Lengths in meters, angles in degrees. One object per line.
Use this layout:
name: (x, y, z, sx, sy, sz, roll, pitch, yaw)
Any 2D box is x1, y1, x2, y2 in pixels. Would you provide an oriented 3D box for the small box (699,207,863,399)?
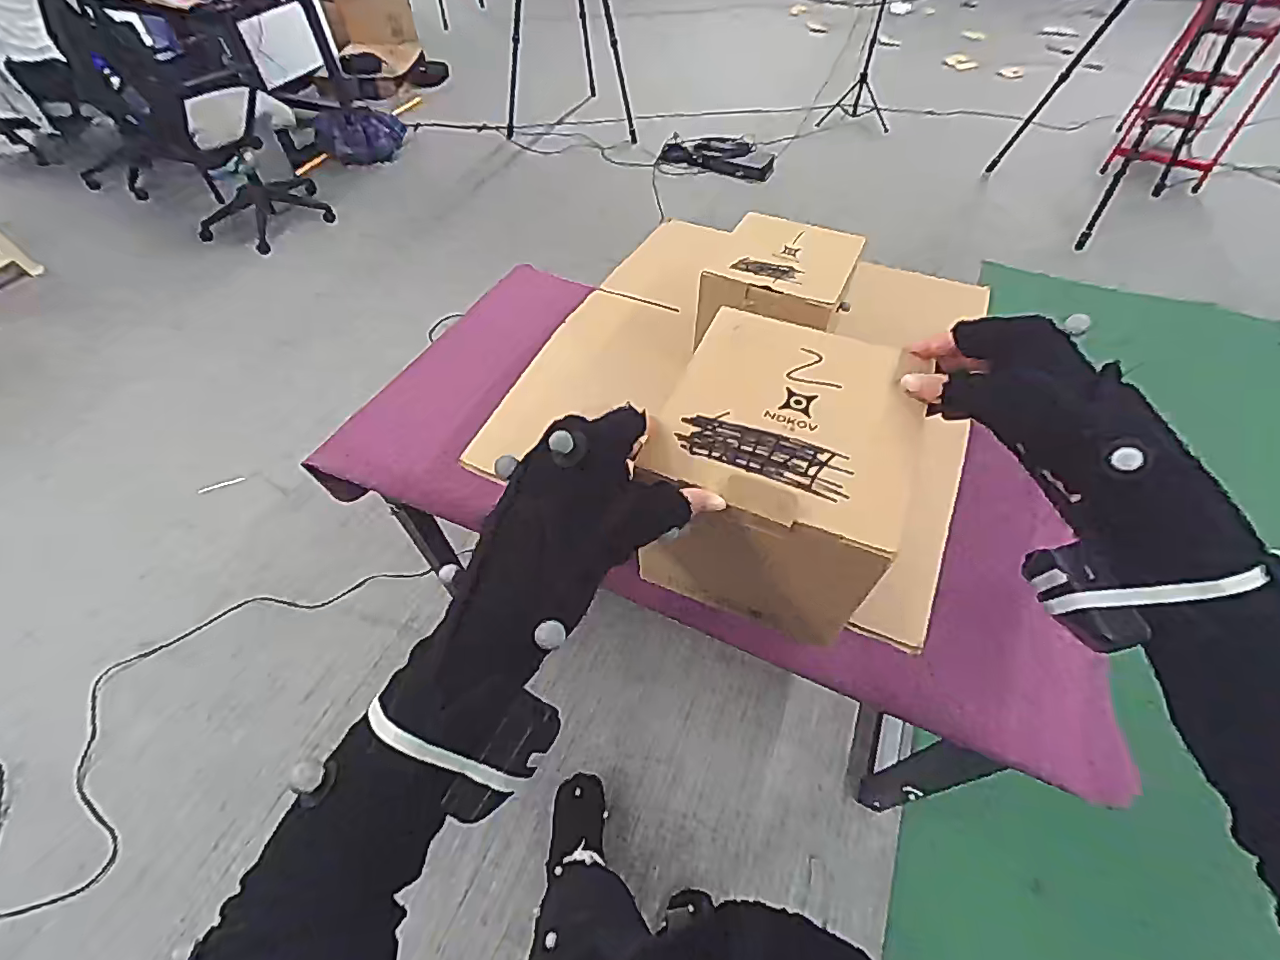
small box: (0.185, -0.240, 0.743, 0.168, 0.176, 0.179, 19, 56, 14)
